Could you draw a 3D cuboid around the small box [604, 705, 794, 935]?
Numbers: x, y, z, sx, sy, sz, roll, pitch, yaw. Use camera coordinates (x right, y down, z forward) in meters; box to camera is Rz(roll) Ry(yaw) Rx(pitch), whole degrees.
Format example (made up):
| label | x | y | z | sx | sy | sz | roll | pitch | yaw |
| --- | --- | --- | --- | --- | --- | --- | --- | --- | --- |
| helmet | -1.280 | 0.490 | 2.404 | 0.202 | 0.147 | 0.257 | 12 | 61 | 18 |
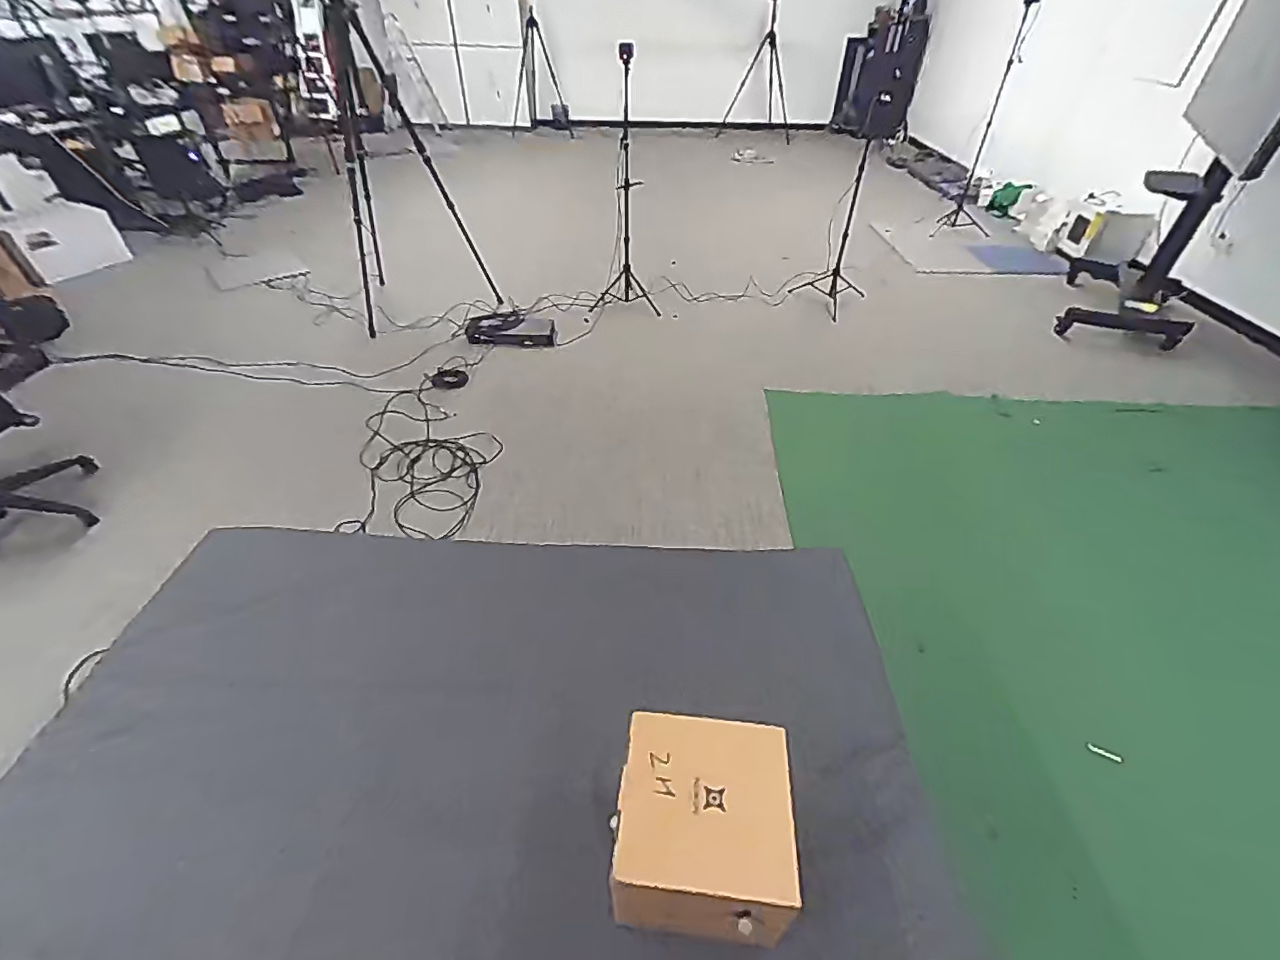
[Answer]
| label | x | y | z | sx | sy | sz | roll | pitch | yaw |
| --- | --- | --- | --- | --- | --- | --- | --- | --- | --- |
| small box | 0.061 | 0.377 | 0.600 | 0.179 | 0.176 | 0.168 | 4 | 40 | 5 |
